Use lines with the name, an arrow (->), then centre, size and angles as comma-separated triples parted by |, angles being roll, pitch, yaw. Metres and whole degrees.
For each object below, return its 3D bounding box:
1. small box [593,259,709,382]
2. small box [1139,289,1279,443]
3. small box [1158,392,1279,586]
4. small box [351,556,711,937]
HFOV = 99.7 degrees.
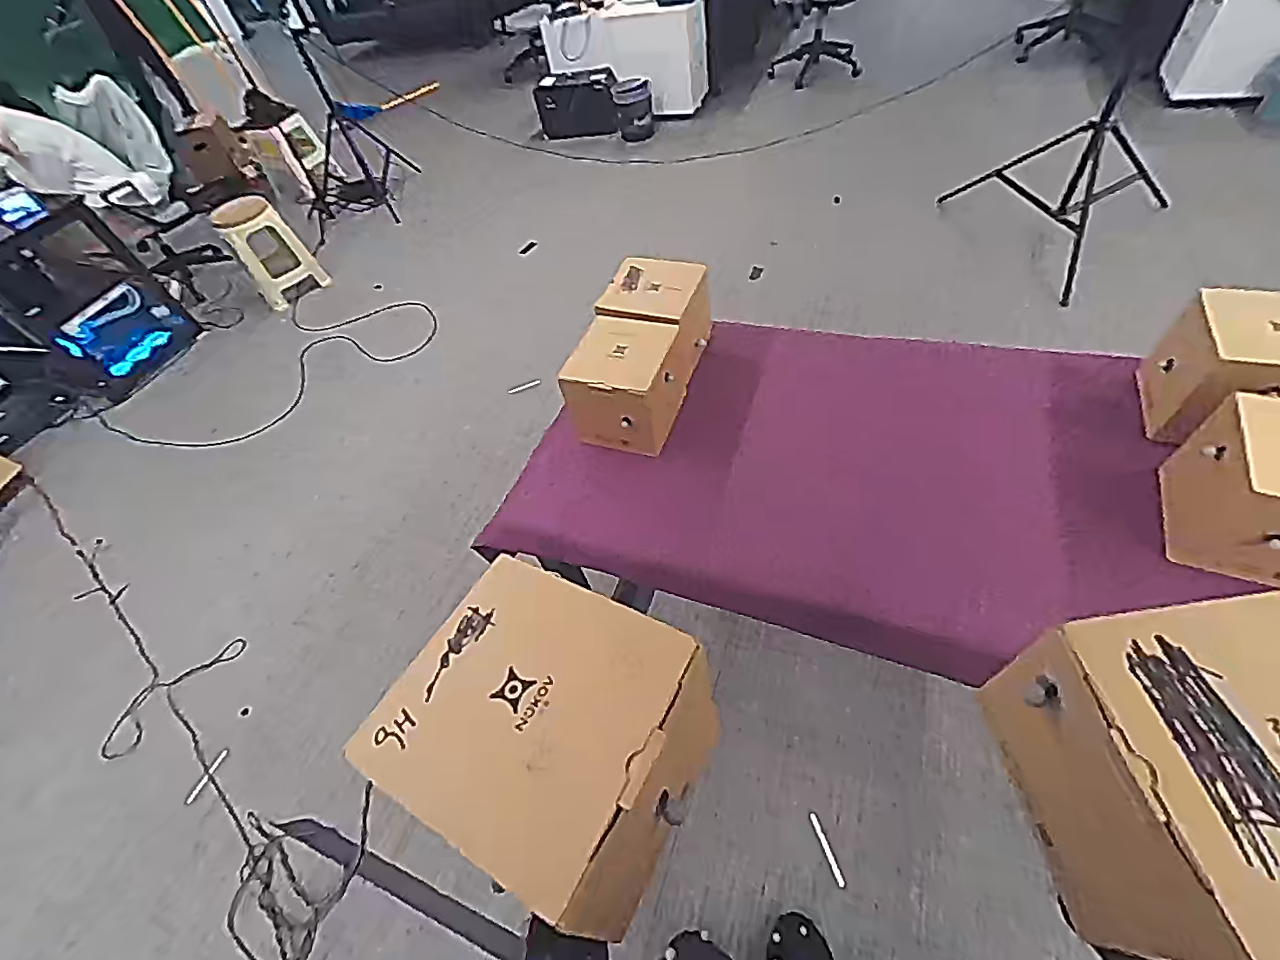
small box -> 0.031, -0.321, 1.095 | 0.179, 0.176, 0.168 | 14, 59, 19
small box -> 0.891, -0.158, 0.806 | 0.179, 0.176, 0.168 | 13, 57, 19
small box -> 0.815, 0.019, 0.693 | 0.168, 0.176, 0.179 | 16, 57, 22
small box -> -0.057, 0.192, 0.401 | 0.179, 0.176, 0.168 | 19, 55, 25
